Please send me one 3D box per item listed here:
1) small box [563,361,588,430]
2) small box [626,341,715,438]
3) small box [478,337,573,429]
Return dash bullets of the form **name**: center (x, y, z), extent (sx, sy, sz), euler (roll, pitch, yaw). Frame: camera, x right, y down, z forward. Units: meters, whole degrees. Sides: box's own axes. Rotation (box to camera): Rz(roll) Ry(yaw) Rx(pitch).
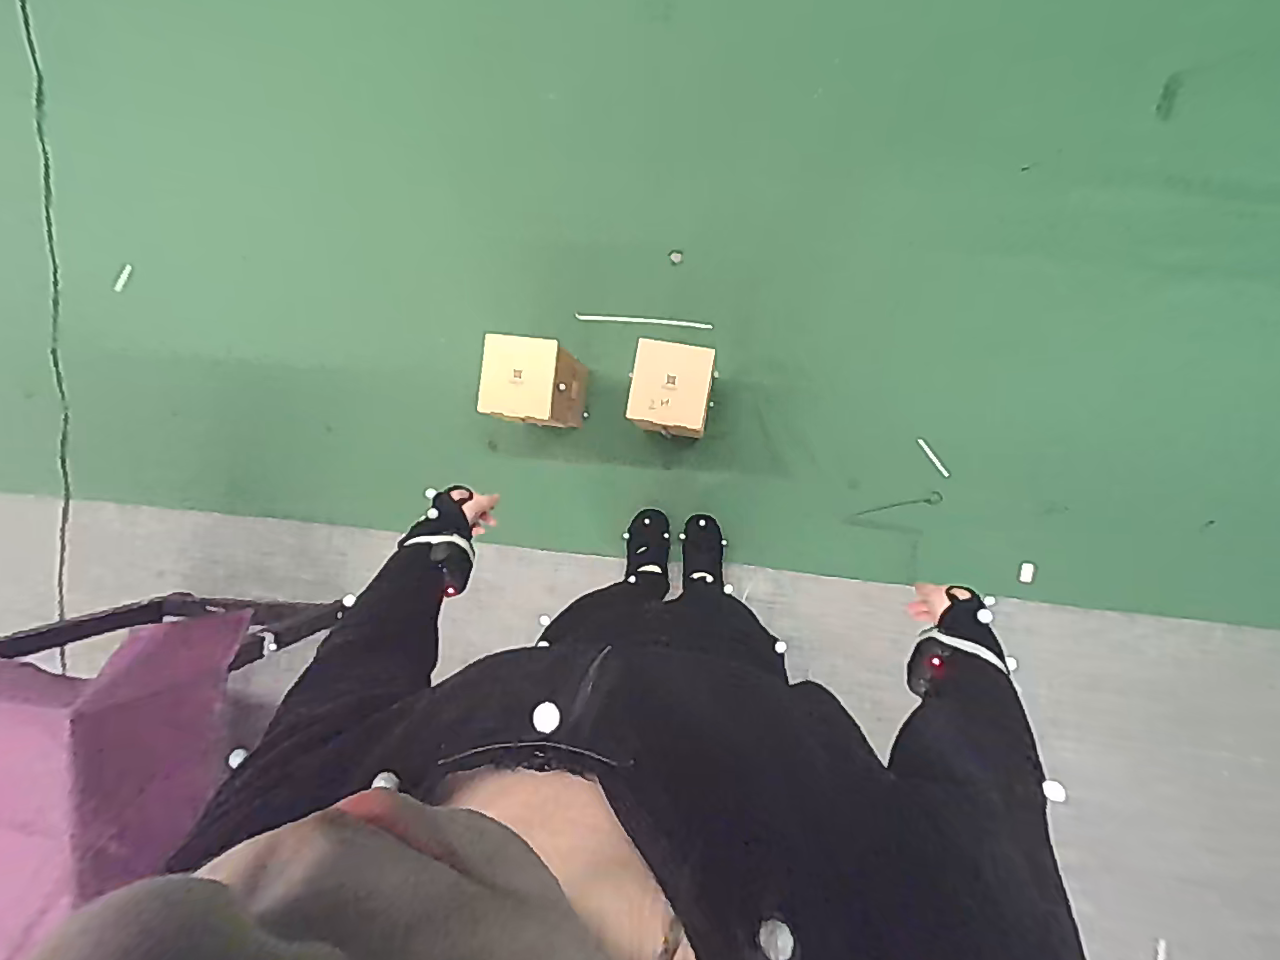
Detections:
- **small box**: center (-0.242, -0.226, 1.426), extent (0.179, 0.176, 0.168), euler (7, 91, 7)
- **small box**: center (0.071, -0.198, 1.226), extent (0.168, 0.176, 0.179), euler (11, 93, 6)
- **small box**: center (-0.259, -0.220, 1.263), extent (0.168, 0.176, 0.179), euler (7, 92, 6)
